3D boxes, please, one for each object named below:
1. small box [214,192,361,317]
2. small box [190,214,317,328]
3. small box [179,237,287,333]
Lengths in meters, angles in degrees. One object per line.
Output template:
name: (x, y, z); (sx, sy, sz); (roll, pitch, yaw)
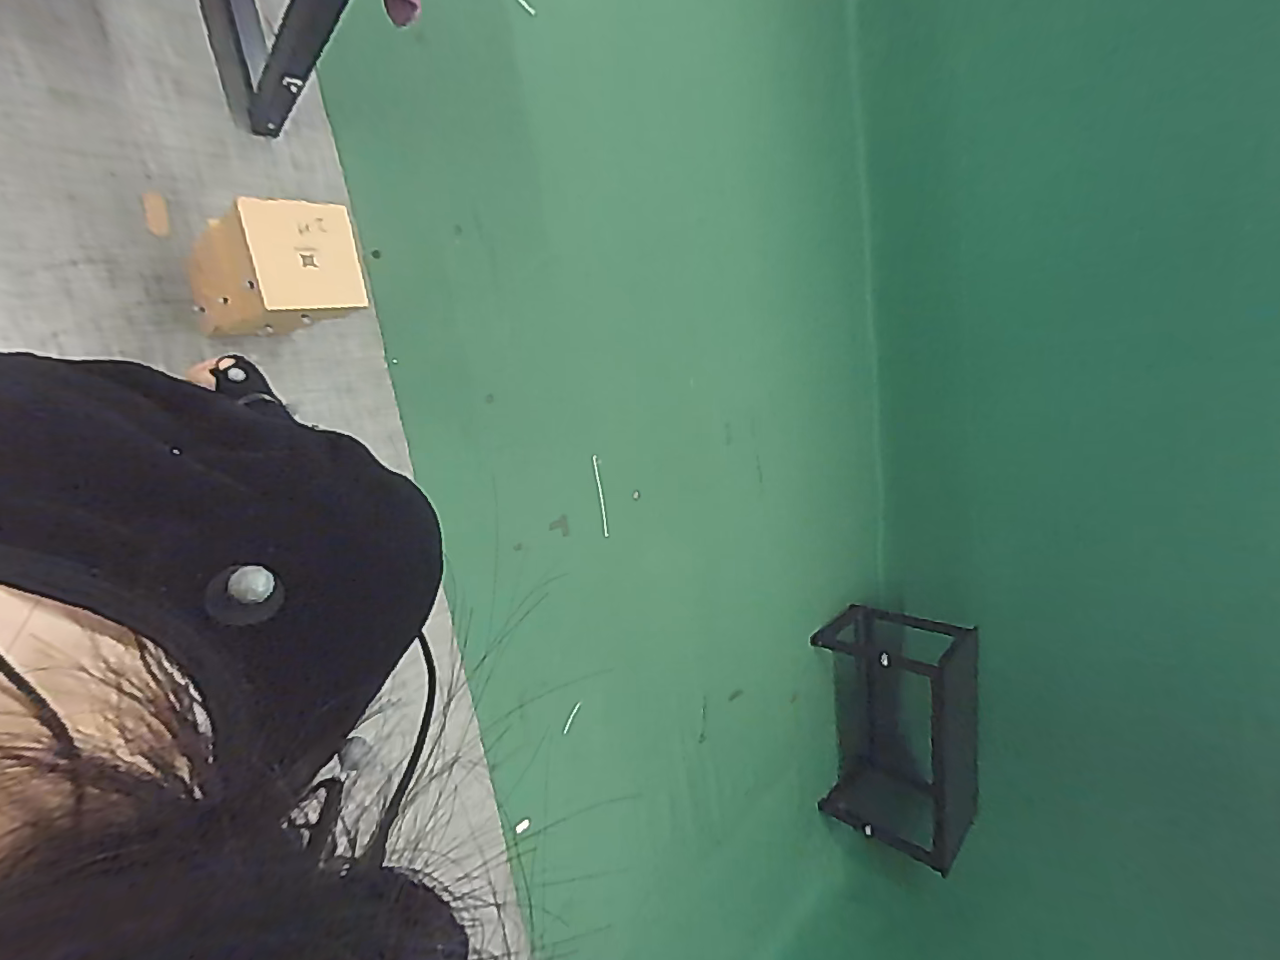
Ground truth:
small box: (-0.629, -0.389, 0.966); (0.168, 0.176, 0.179); (-20, 108, -43)
small box: (-0.757, -0.406, 1.070); (0.168, 0.176, 0.179); (-21, 109, -43)
small box: (-0.875, -0.417, 1.179); (0.179, 0.176, 0.168); (-17, 106, -43)
